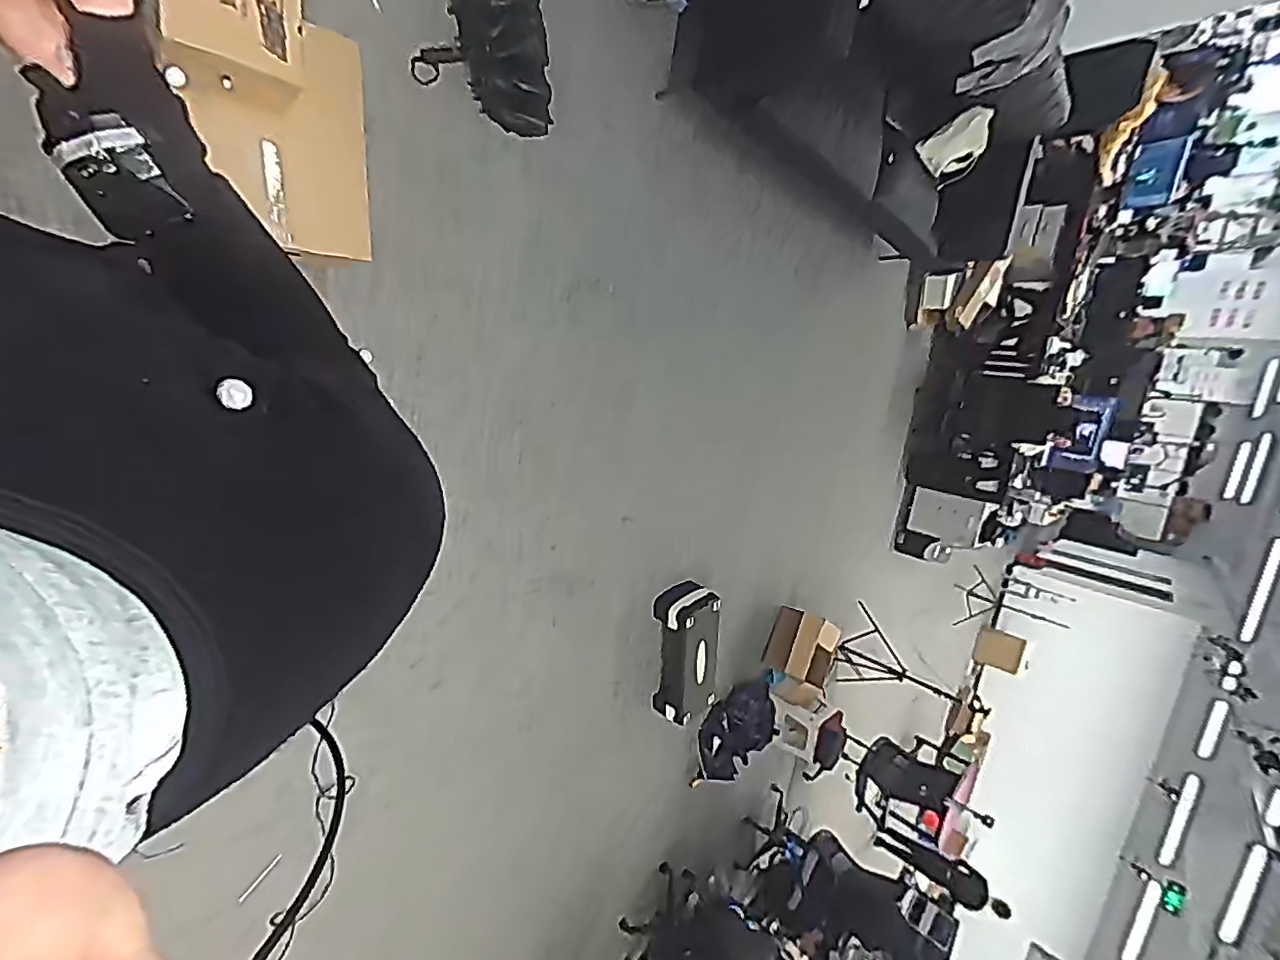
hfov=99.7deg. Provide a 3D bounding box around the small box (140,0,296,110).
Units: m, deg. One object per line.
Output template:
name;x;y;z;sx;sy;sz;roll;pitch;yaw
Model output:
small box;-0.655;-0.709;0.839;0.179;0.176;0.168;-5;105;-42
